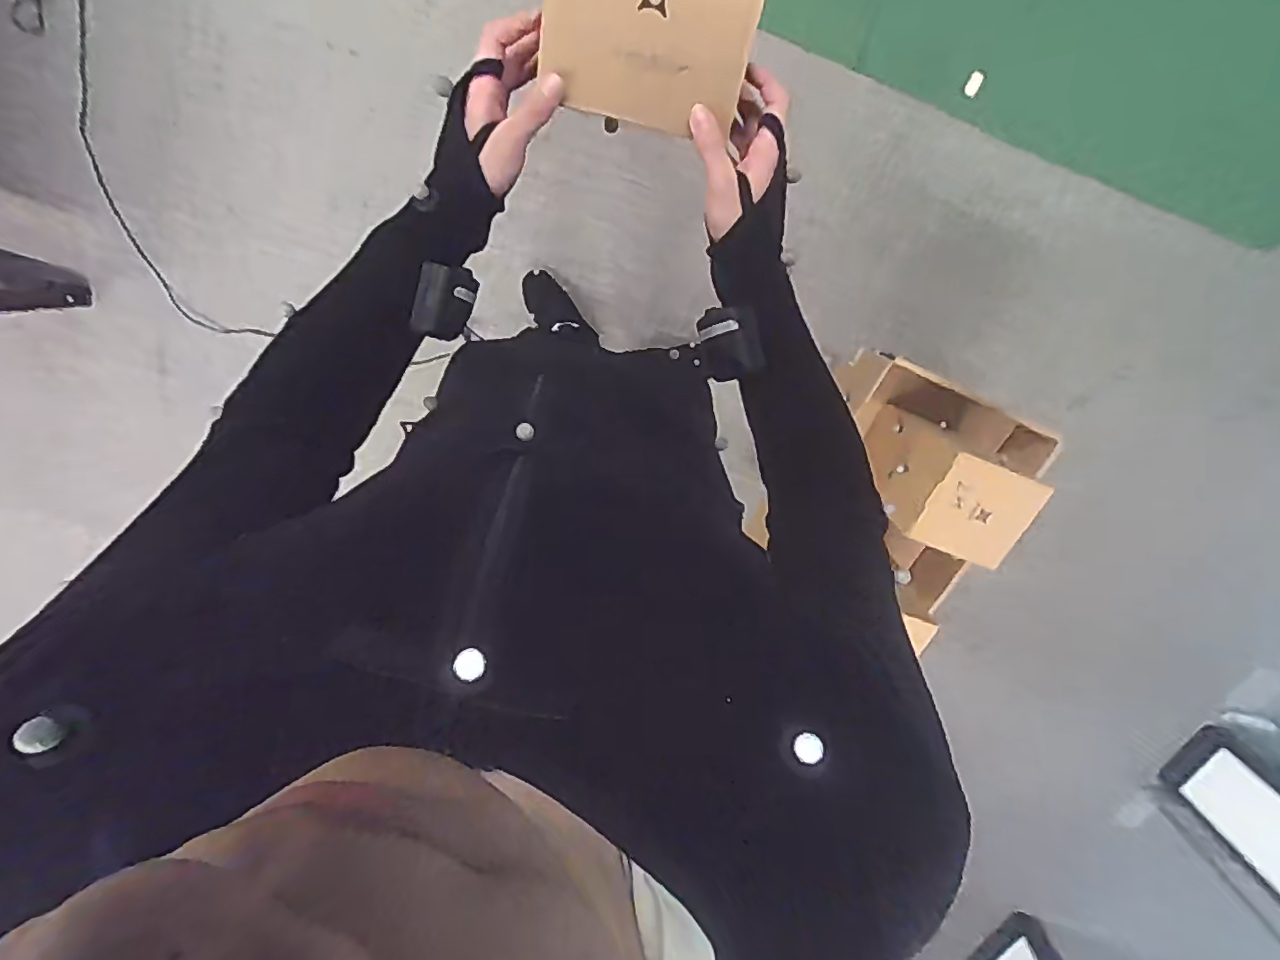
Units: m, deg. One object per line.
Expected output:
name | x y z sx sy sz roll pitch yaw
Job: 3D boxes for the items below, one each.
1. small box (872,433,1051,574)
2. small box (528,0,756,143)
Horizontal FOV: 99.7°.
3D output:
small box | 0.552 0.033 0.957 0.179 0.176 0.168 21 110 -6
small box | 0.003 -0.413 0.464 0.168 0.176 0.179 9 125 -9
